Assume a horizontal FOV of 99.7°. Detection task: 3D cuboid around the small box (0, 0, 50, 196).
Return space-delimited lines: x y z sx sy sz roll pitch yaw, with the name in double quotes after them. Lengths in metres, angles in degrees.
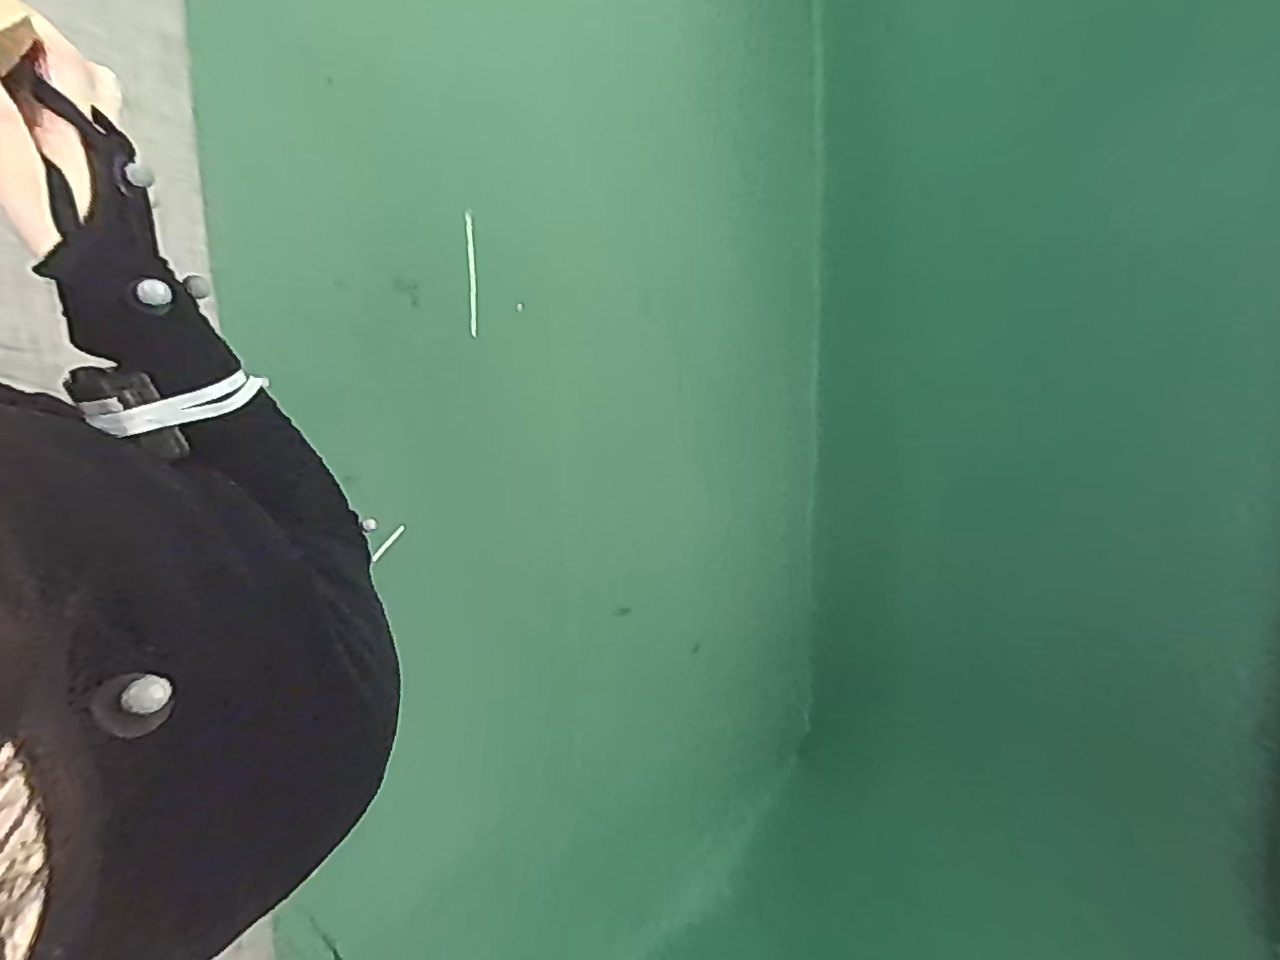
-0.442 -0.217 0.245 0.179 0.176 0.168 47 62 -35 "small box"
